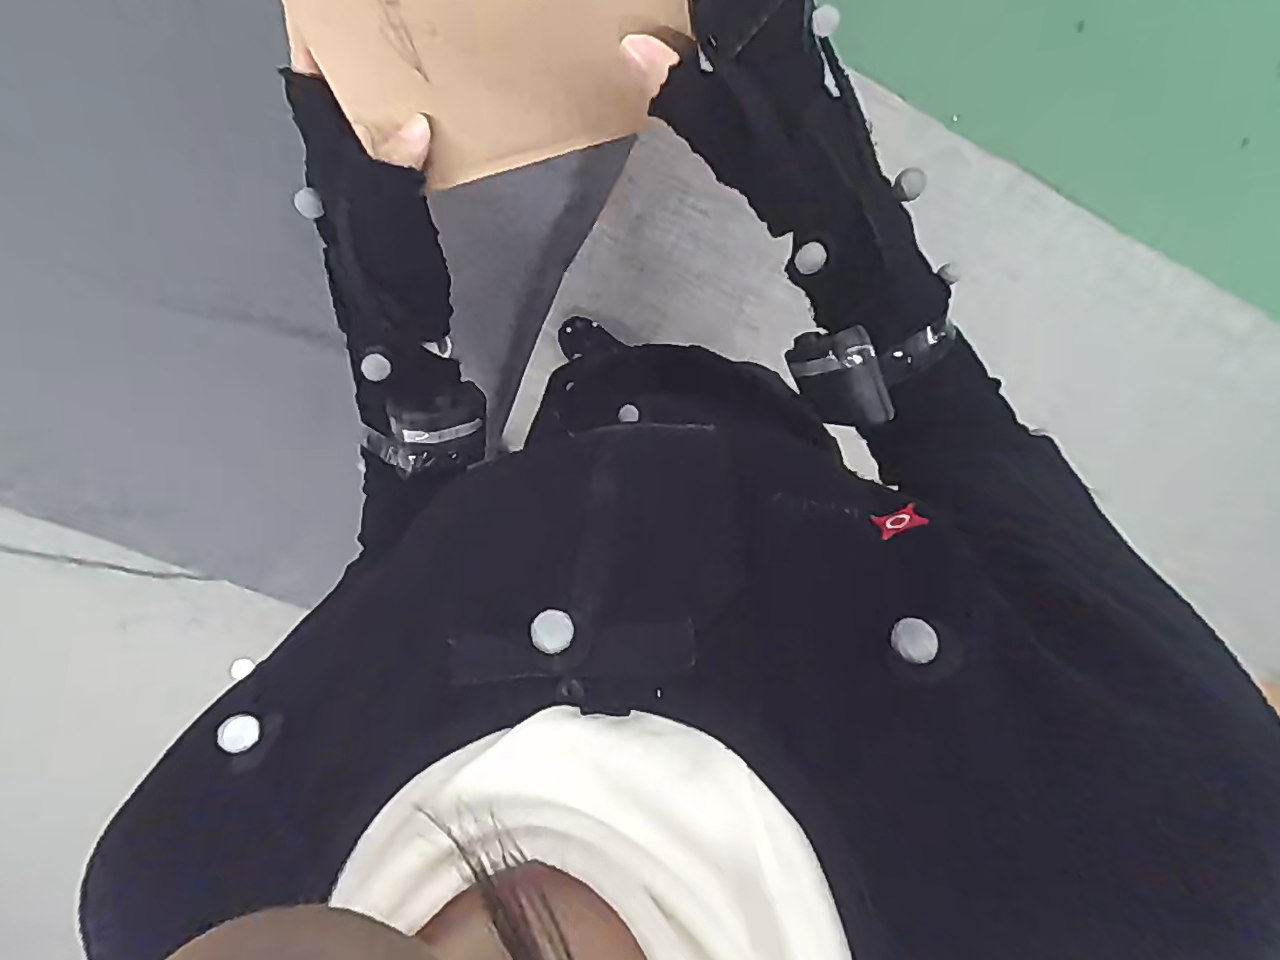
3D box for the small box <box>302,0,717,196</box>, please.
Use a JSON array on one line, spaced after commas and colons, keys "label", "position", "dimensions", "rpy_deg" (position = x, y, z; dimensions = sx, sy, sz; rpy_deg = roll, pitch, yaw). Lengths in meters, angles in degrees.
[{"label": "small box", "position": [-0.067, -0.284, 0.279], "dimensions": [0.179, 0.176, 0.168], "rpy_deg": [-11, 138, 10]}]
